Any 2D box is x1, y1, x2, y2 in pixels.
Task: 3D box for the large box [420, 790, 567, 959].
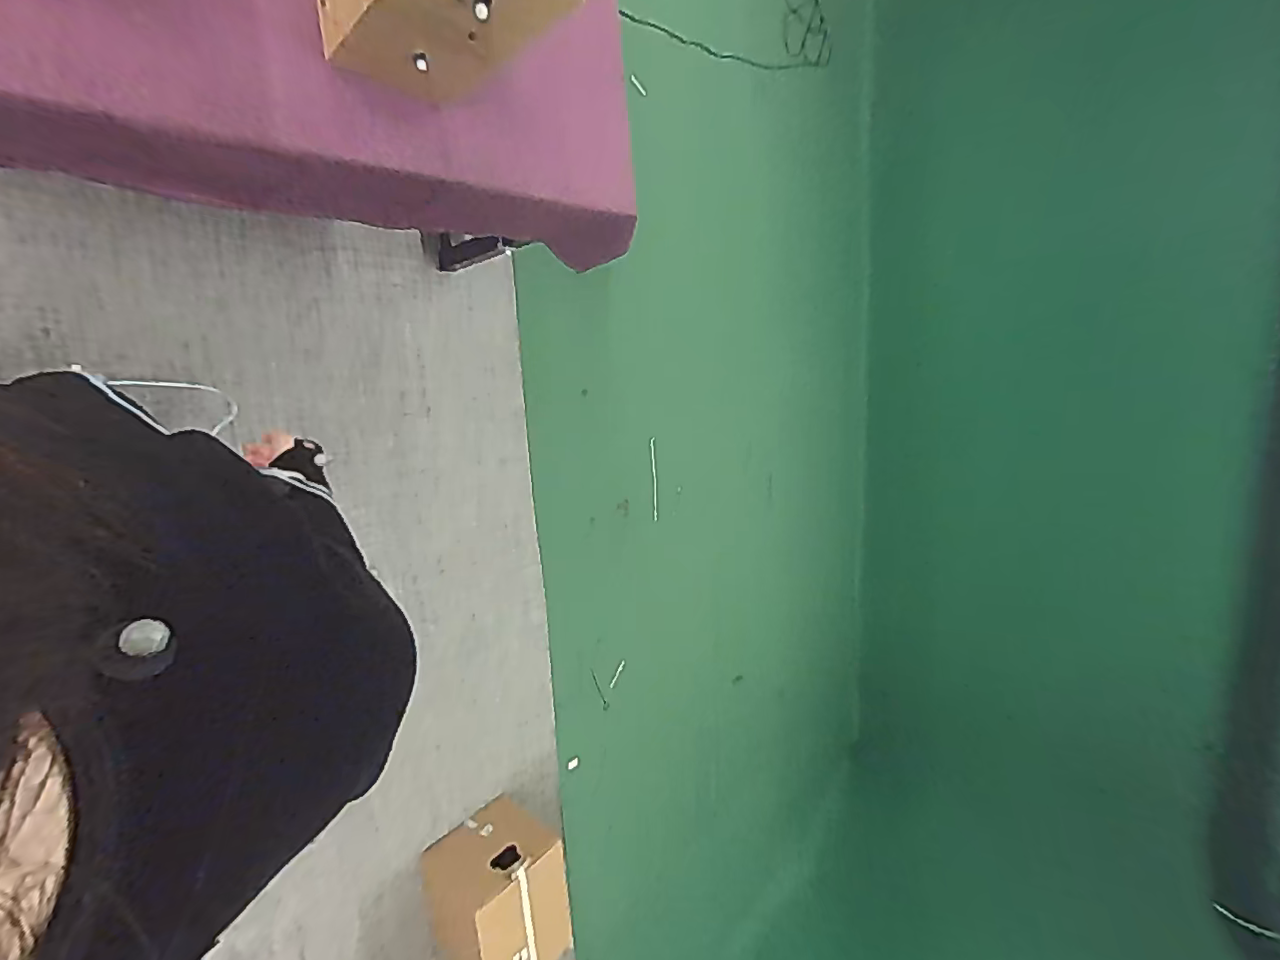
[{"bbox_3d":[-0.467,1.317,1.736,0.320,0.320,0.408,-16,107,-47],"label":"large box"}]
